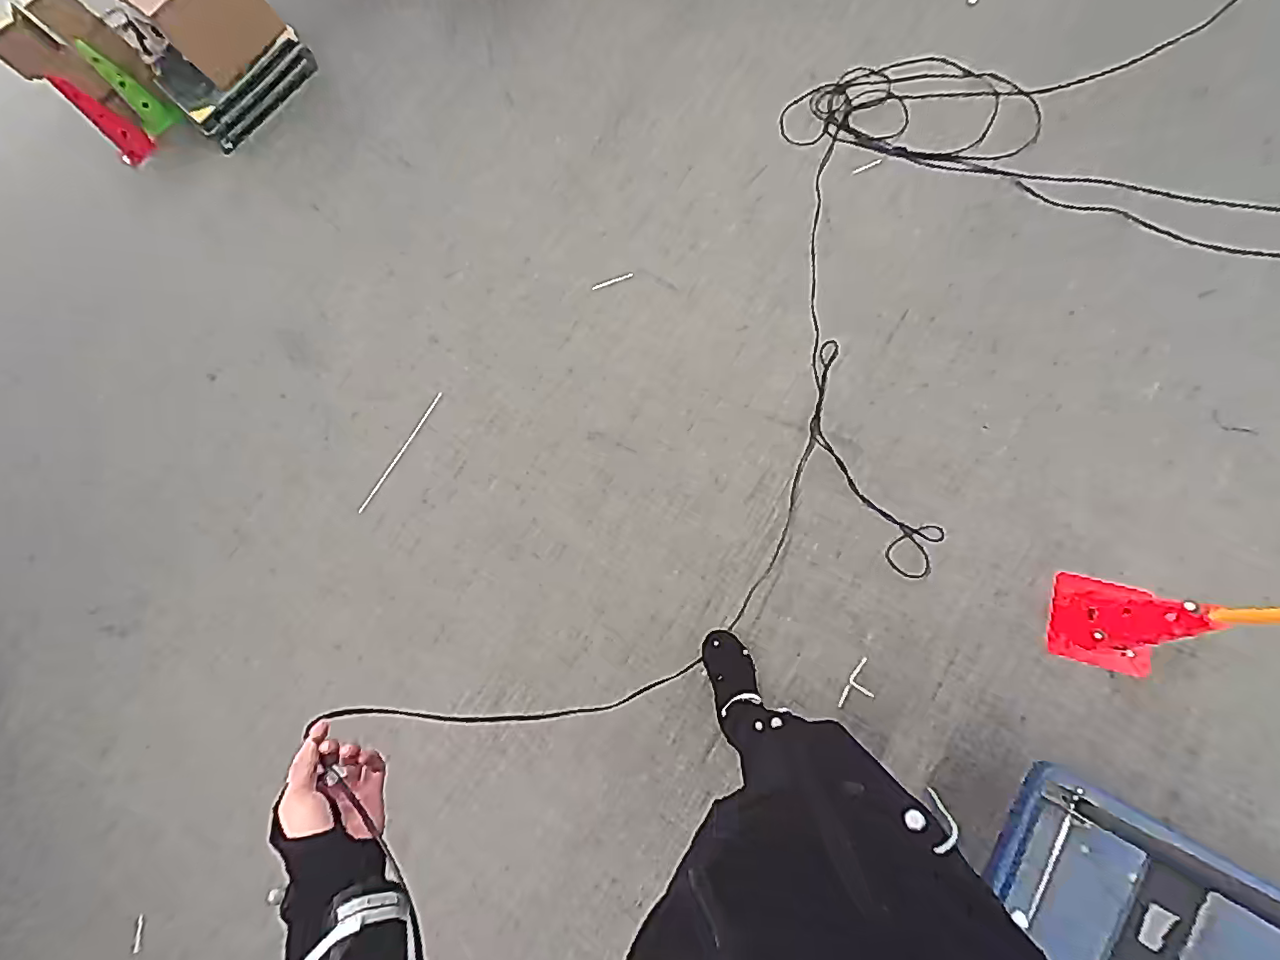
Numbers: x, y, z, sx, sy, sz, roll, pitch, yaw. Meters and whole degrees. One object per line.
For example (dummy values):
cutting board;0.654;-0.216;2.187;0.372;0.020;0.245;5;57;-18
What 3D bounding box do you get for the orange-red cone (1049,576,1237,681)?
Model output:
orange-red cone;1.025;0.288;1.081;0.198;0.360;0.199;15;76;16
